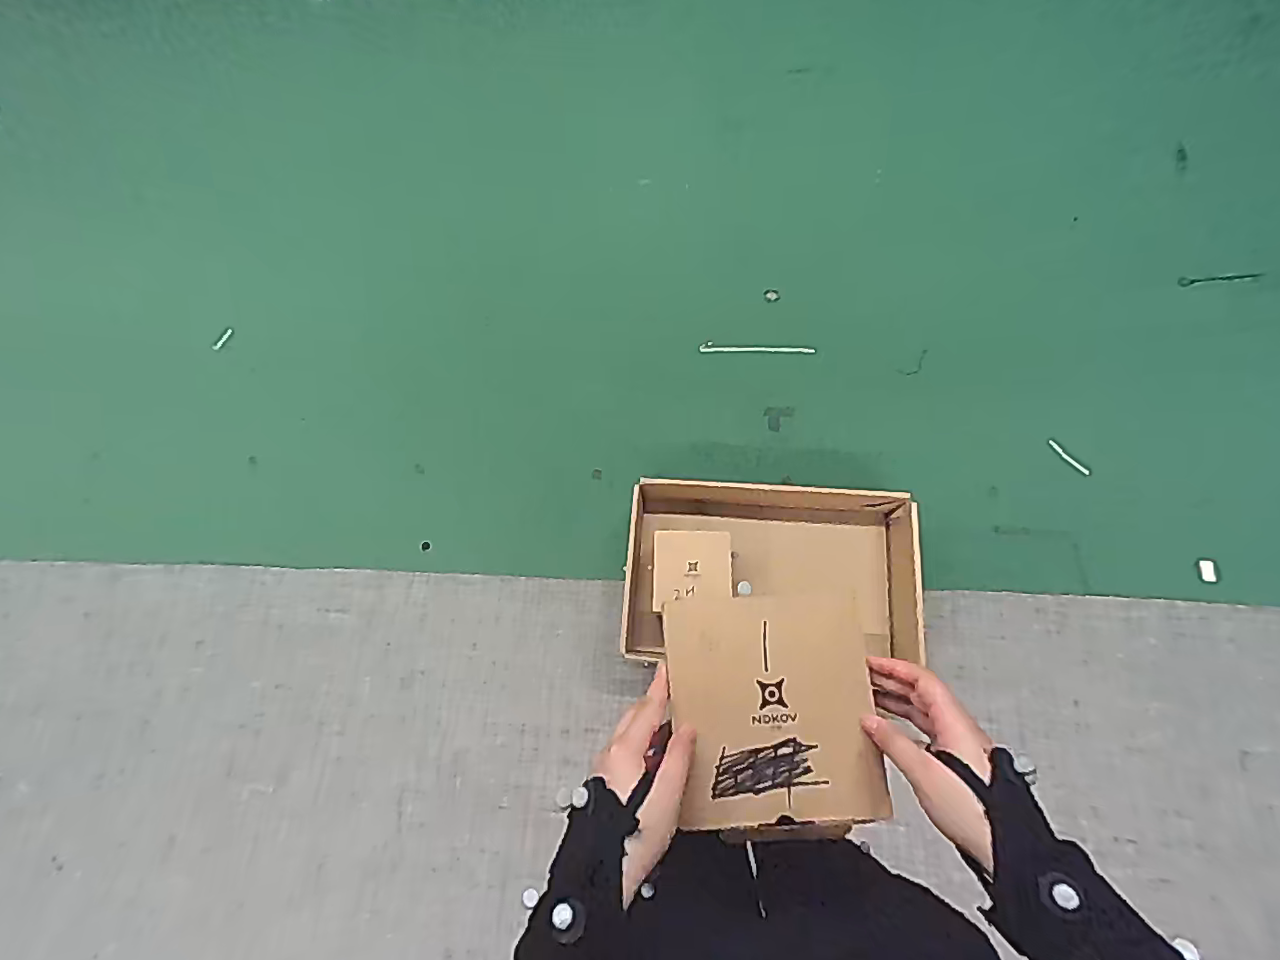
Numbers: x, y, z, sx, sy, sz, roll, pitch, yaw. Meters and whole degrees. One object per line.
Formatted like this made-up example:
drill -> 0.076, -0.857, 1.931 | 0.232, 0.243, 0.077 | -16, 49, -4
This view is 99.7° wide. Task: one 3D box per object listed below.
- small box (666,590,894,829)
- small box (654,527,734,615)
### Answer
small box -> 0.112, 0.197, 0.509 | 0.168, 0.176, 0.179 | -4, 76, 1
small box -> 0.119, 0.209, 1.205 | 0.168, 0.176, 0.179 | 1, 74, 5
